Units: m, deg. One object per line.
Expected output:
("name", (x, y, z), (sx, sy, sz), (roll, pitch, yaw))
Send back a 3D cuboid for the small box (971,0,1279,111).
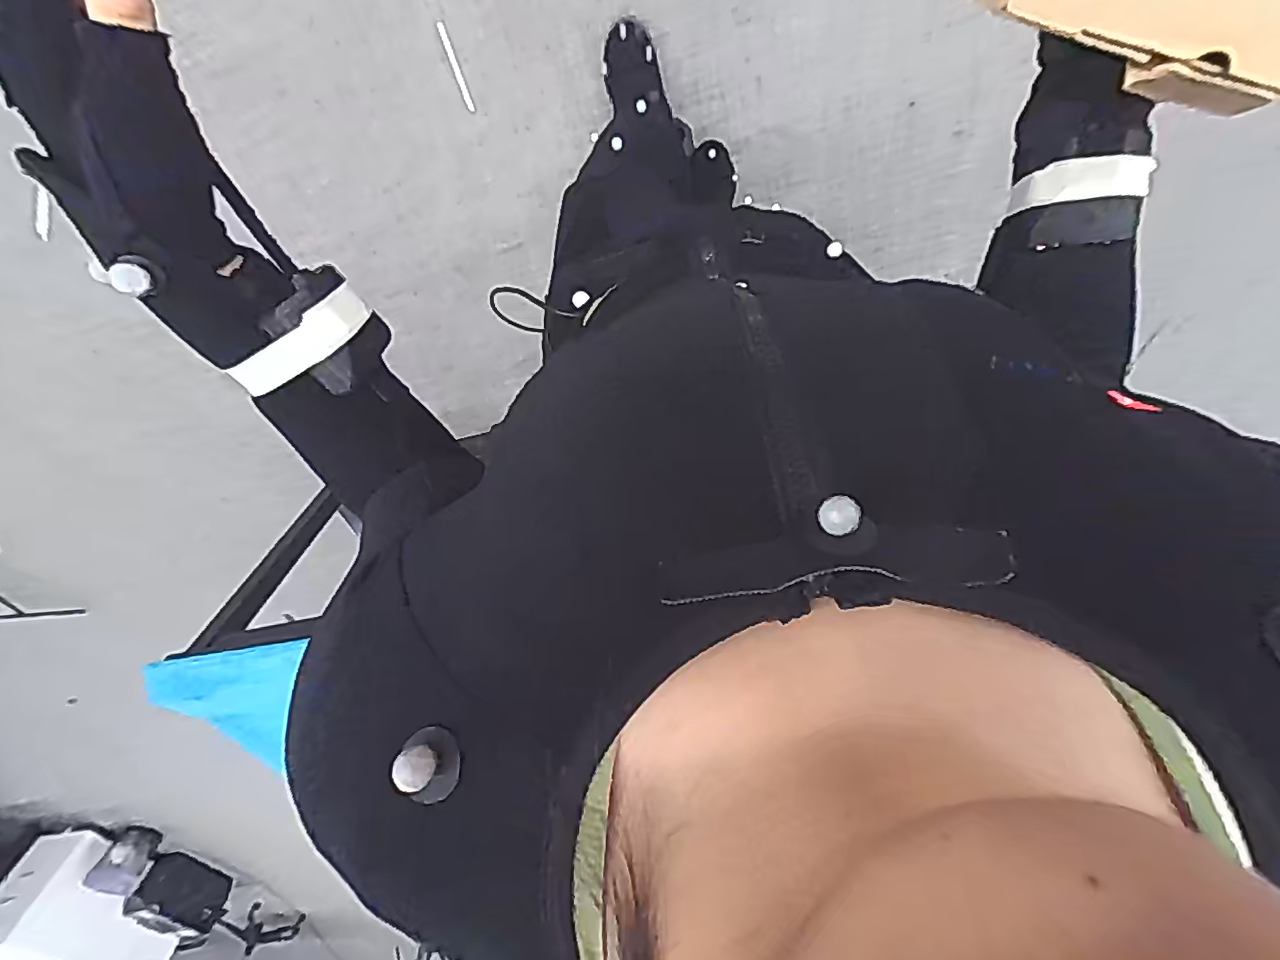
("small box", (0.239, -0.272, 0.197), (0.168, 0.176, 0.179), (15, 138, -3))
